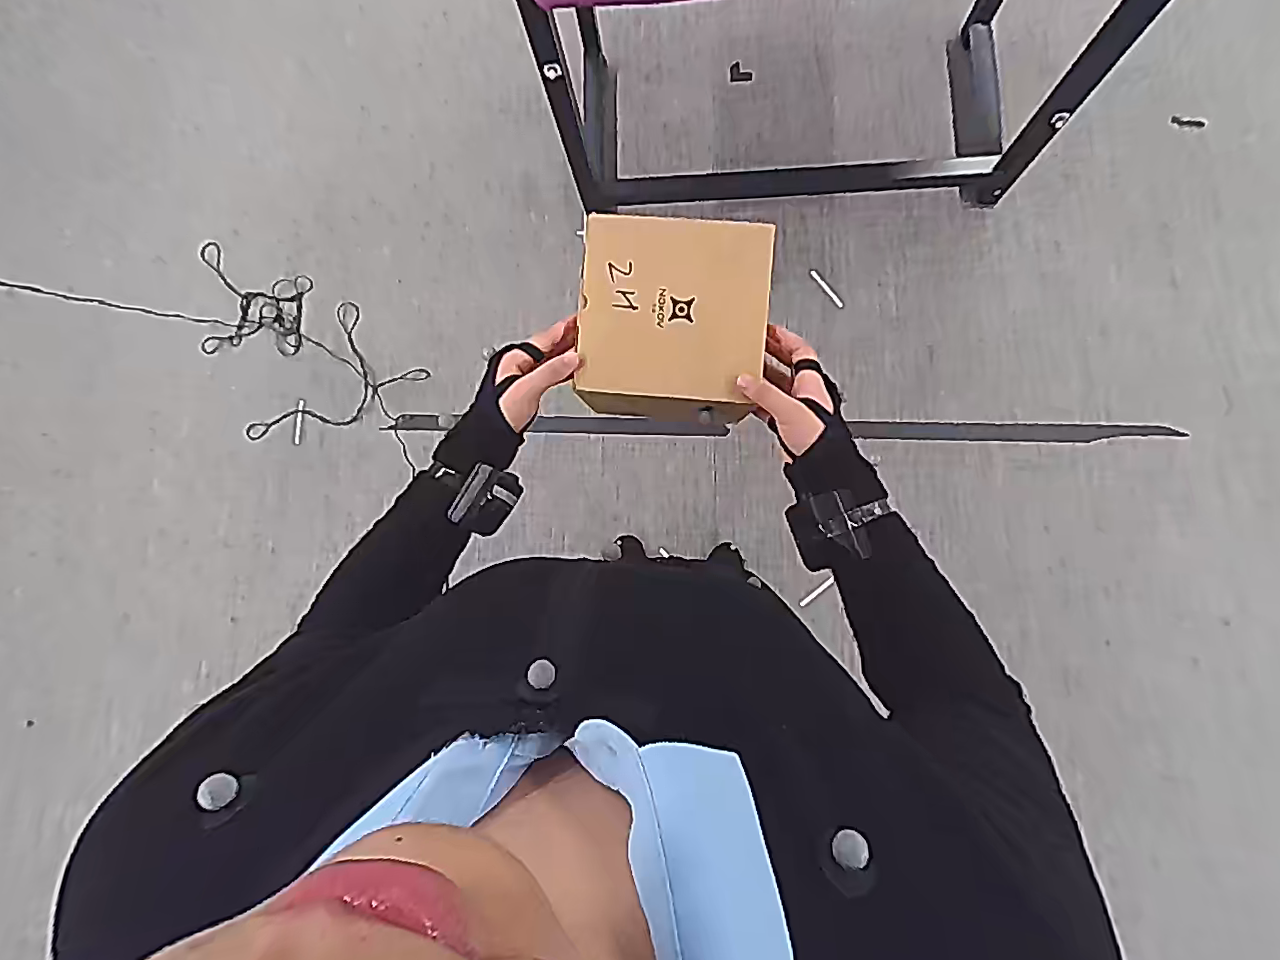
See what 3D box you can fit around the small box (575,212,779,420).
[{"bbox_3d":[0.037,-0.158,0.575,0.179,0.176,0.168,5,90,4],"label":"small box"}]
